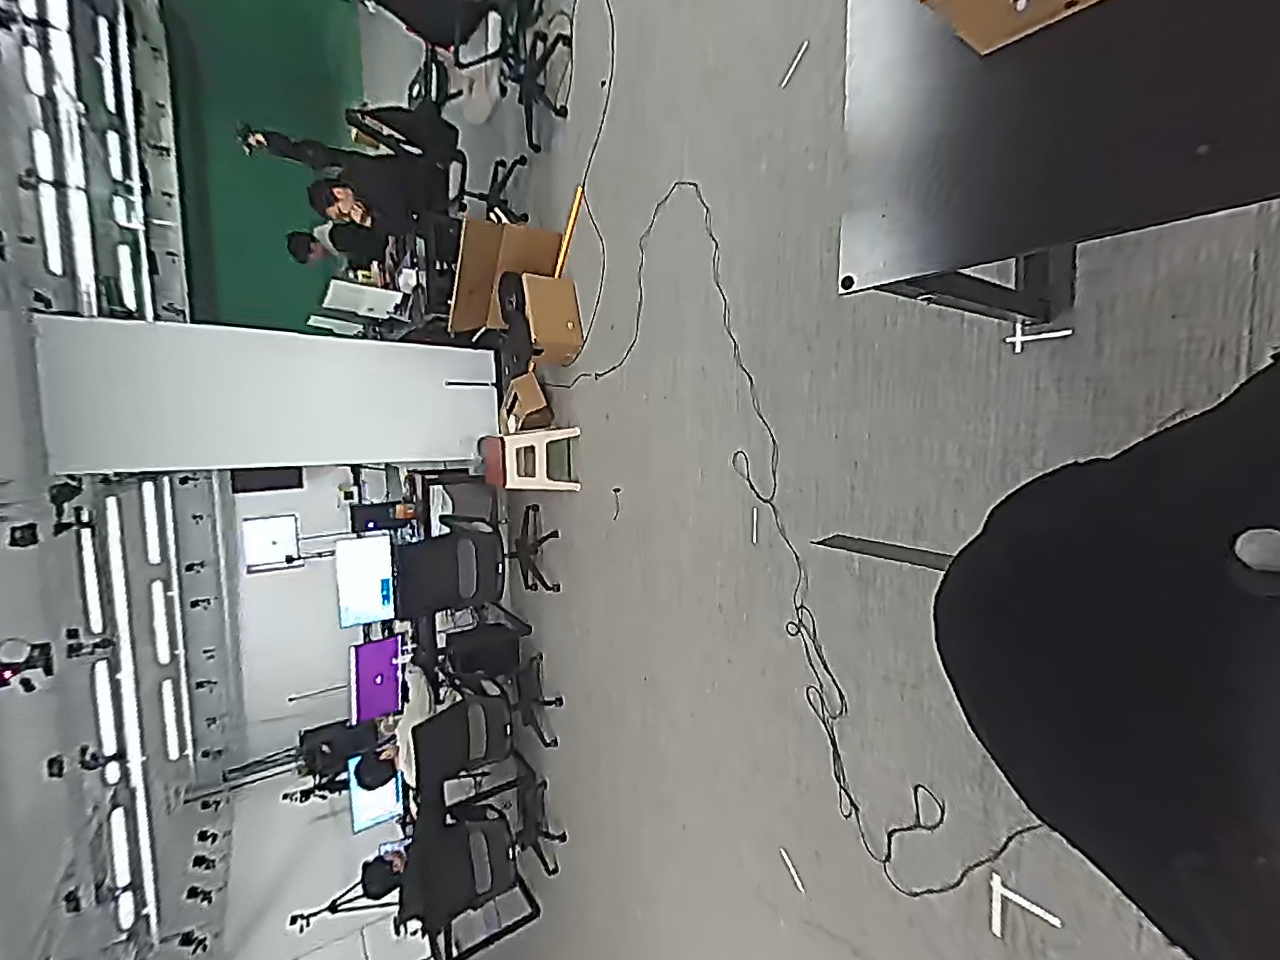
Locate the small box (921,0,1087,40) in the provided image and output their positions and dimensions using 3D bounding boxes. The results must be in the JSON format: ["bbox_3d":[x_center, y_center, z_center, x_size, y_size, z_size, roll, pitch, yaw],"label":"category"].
[{"bbox_3d":[0.441,-0.637,0.598,0.168,0.176,0.179,12,103,54],"label":"small box"}]
